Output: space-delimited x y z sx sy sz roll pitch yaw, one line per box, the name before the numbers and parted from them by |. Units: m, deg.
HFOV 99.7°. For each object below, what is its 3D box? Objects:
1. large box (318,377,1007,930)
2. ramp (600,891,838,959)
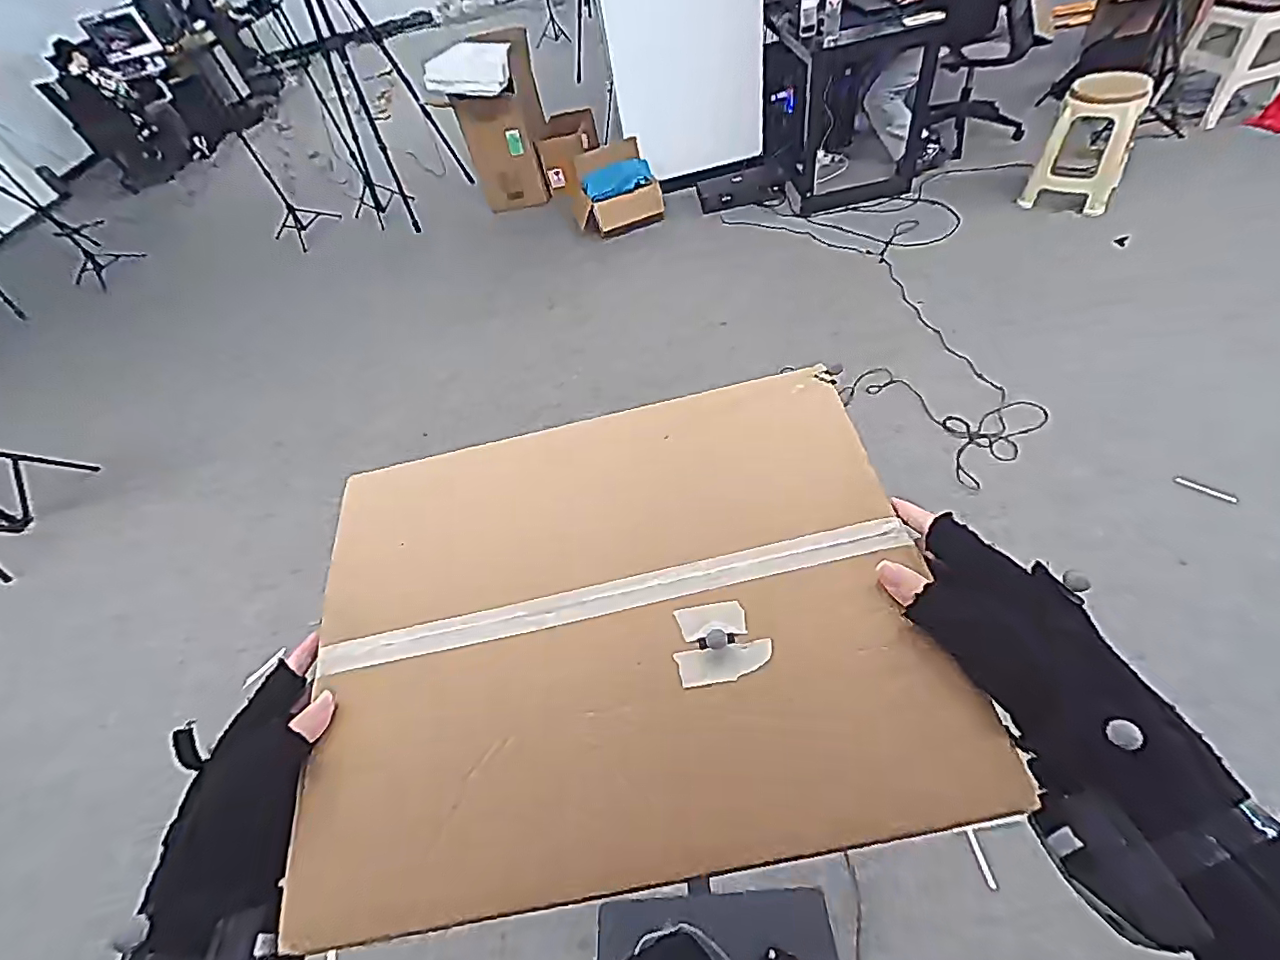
large box | 0.005 0.161 0.503 0.408 0.320 0.320 -13 58 2
ramp | 0.161 1.236 0.801 0.509 0.206 0.991 -11 49 6
